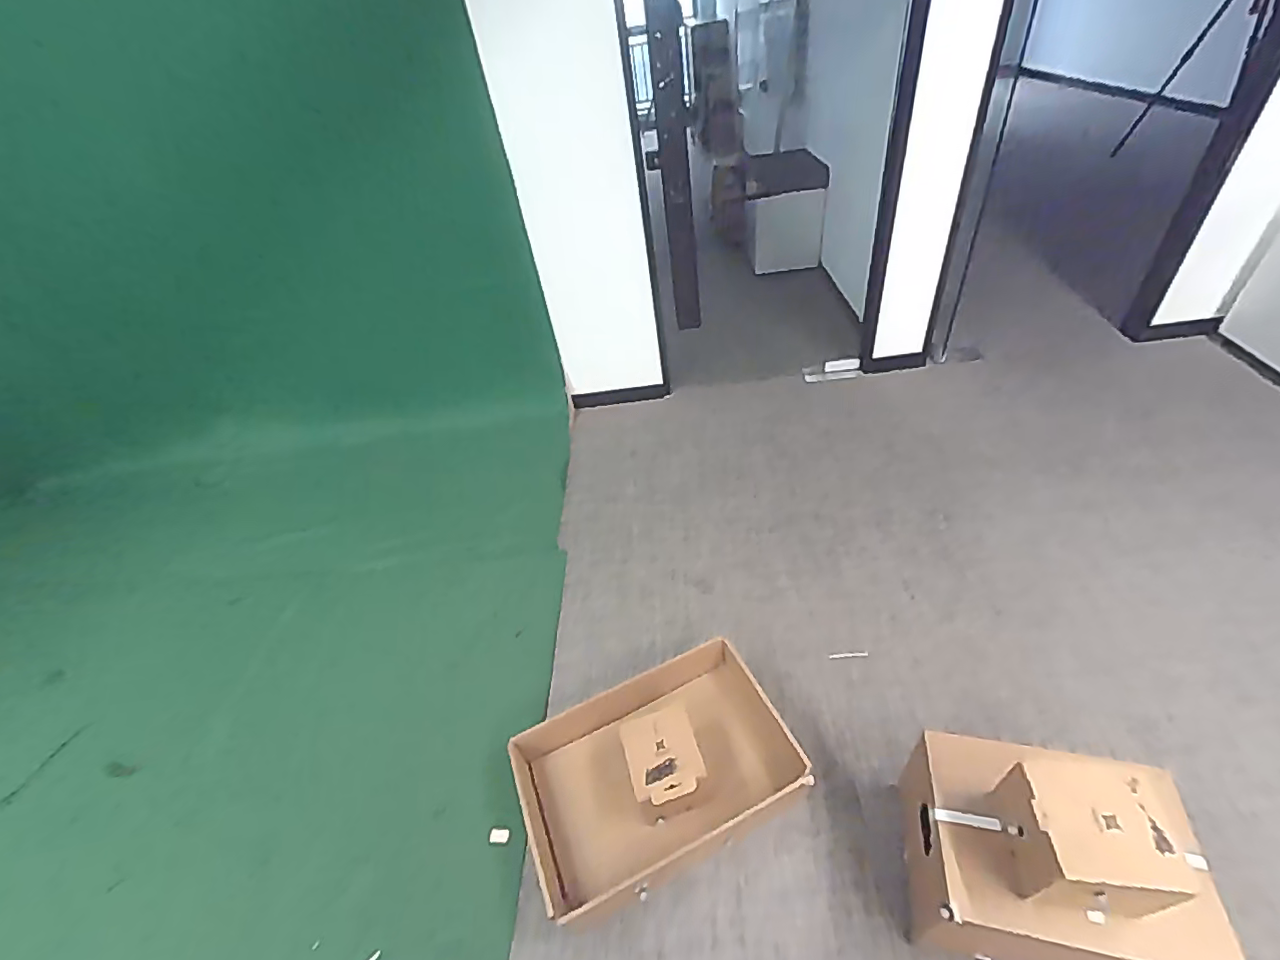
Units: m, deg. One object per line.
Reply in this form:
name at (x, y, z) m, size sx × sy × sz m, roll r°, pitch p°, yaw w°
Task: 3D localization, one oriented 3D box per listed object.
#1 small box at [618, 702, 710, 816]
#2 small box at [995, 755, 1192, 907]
small box at (0.060, 0.670, 1.288) m, size 0.168 × 0.176 × 0.179 m, roll -17°, pitch 41°, yaw -6°
small box at (0.704, 0.566, 0.874) m, size 0.179 × 0.176 × 0.168 m, roll -1°, pitch 44°, yaw 11°
